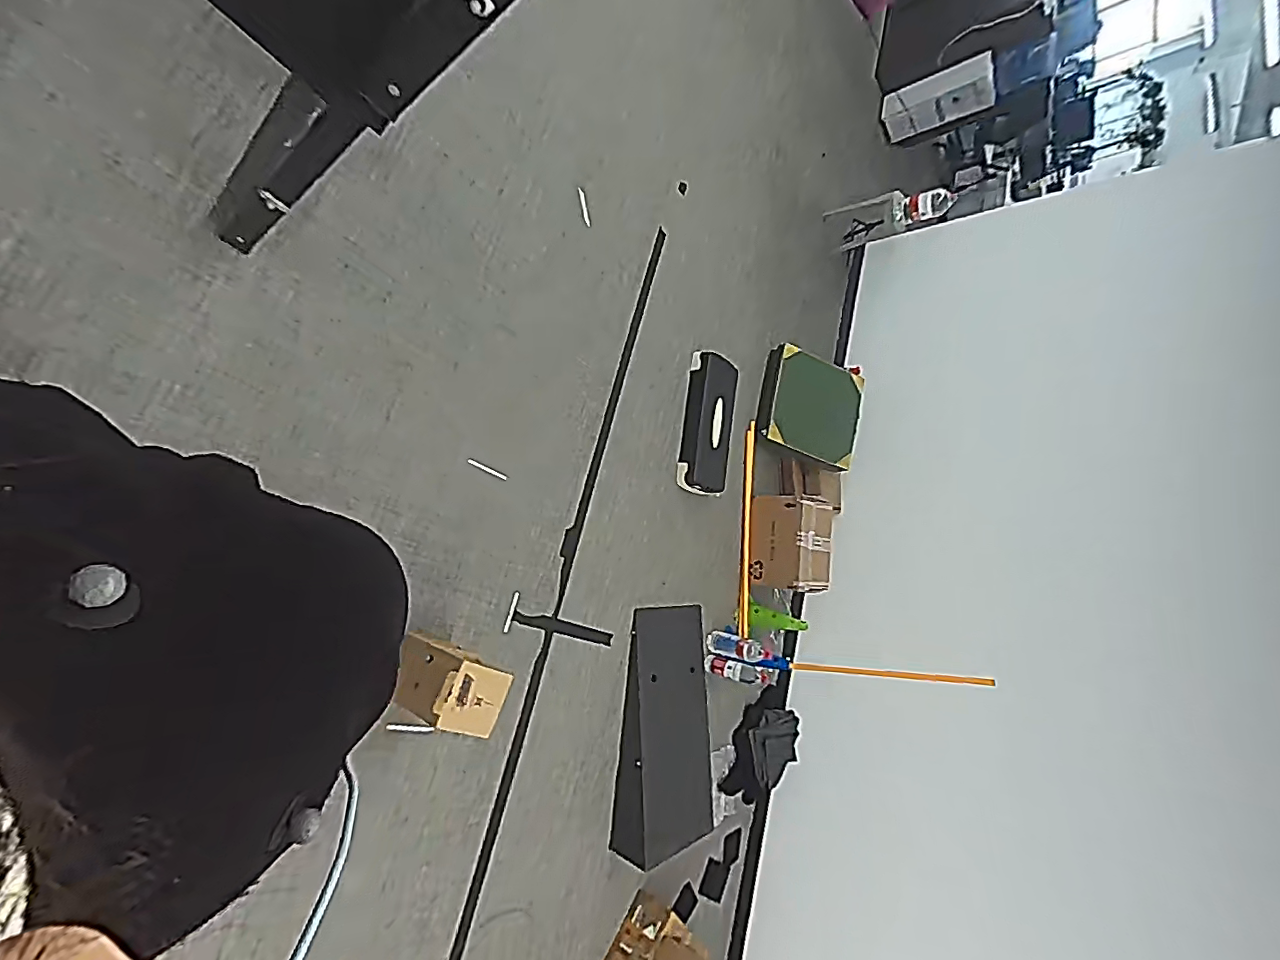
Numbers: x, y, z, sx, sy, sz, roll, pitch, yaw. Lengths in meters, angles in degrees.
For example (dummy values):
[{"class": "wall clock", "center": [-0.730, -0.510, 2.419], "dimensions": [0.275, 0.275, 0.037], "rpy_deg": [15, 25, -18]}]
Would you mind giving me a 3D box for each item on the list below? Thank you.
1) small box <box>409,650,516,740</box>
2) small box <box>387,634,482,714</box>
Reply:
[{"class": "small box", "center": [-0.468, 0.559, 1.421], "dimensions": [0.179, 0.176, 0.168], "rpy_deg": [40, 63, -42]}, {"class": "small box", "center": [-0.588, 0.555, 1.535], "dimensions": [0.168, 0.176, 0.179], "rpy_deg": [34, 67, -44]}]
